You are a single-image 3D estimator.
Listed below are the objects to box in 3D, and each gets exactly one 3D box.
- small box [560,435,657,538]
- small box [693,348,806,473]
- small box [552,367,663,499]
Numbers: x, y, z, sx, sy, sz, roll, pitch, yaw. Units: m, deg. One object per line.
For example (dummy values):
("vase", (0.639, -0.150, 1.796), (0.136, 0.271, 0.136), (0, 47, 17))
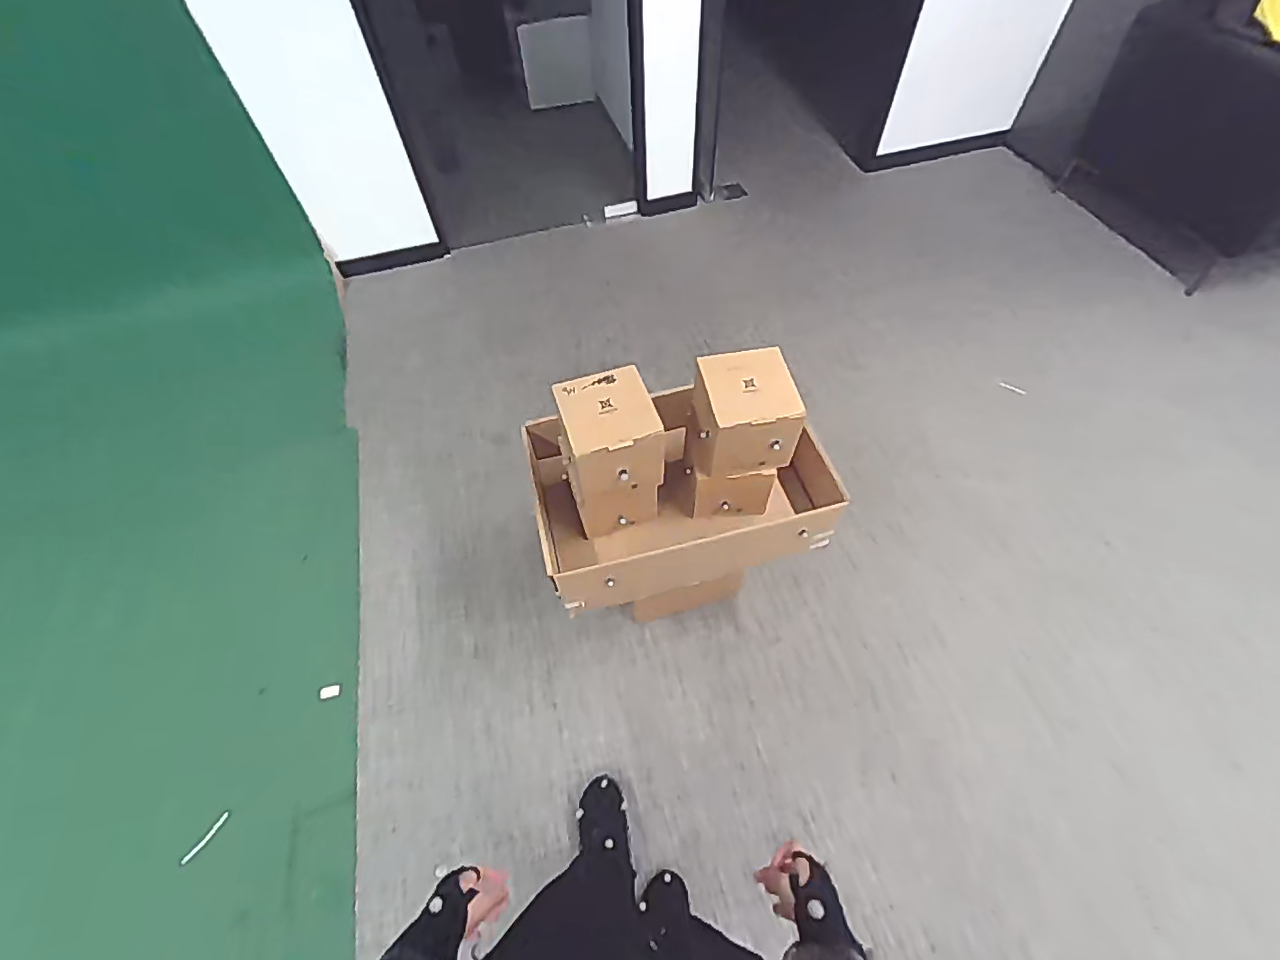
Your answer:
("small box", (-0.067, -0.001, 1.175), (0.168, 0.176, 0.179), (-16, 58, -8))
("small box", (0.204, -0.128, 1.058), (0.168, 0.176, 0.179), (-8, 57, -5))
("small box", (-0.058, -0.082, 1.032), (0.168, 0.176, 0.179), (-16, 58, -9))
